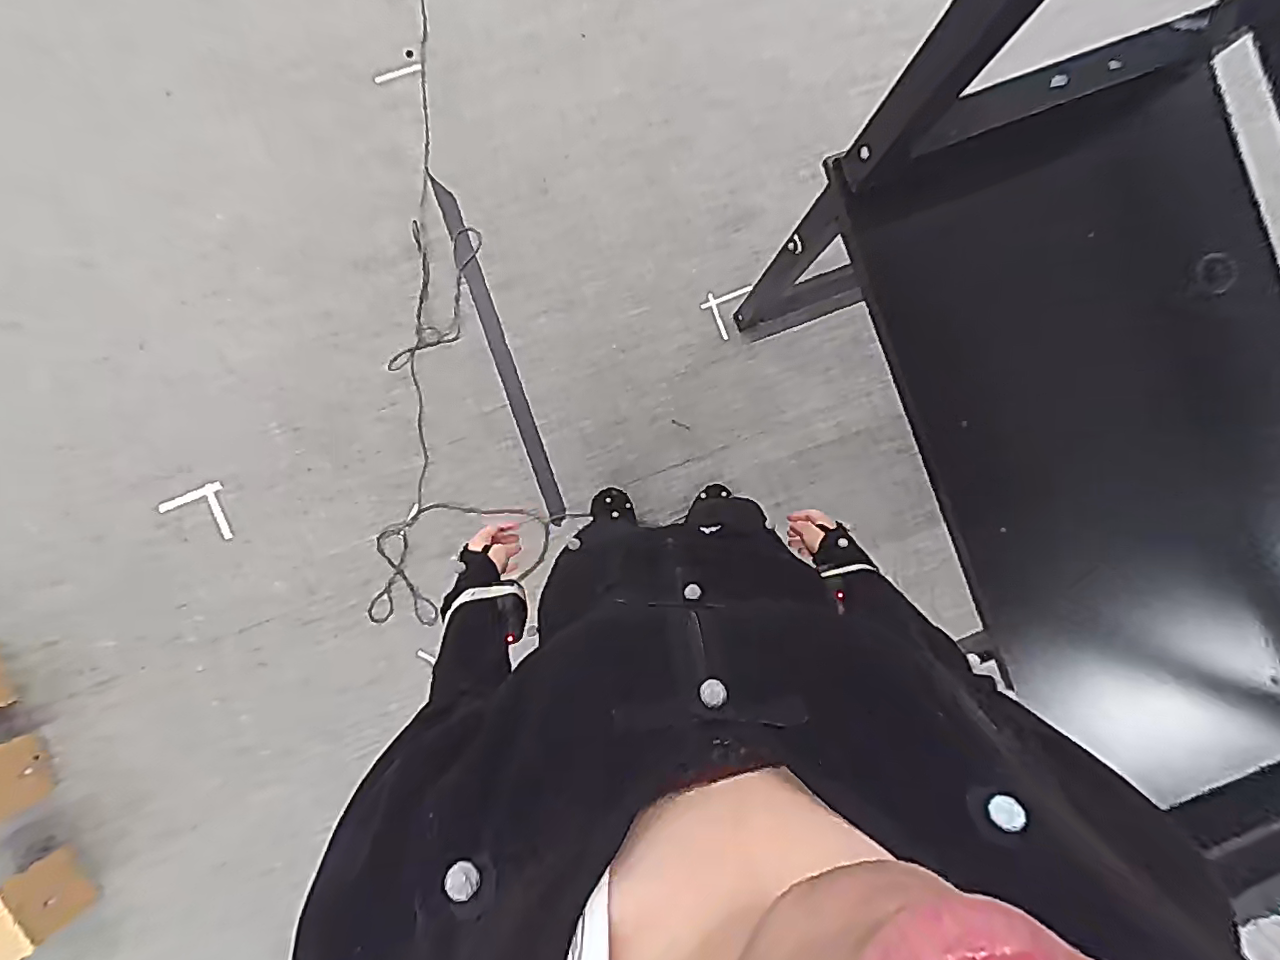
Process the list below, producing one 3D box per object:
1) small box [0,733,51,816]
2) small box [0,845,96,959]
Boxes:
[{"bbox_3d":[-1.662,0.769,1.351,0.179,0.176,0.168,-17,92,-3],"label":"small box"},{"bbox_3d":[-1.555,1.081,1.361,0.168,0.176,0.179,-33,93,-2],"label":"small box"}]
